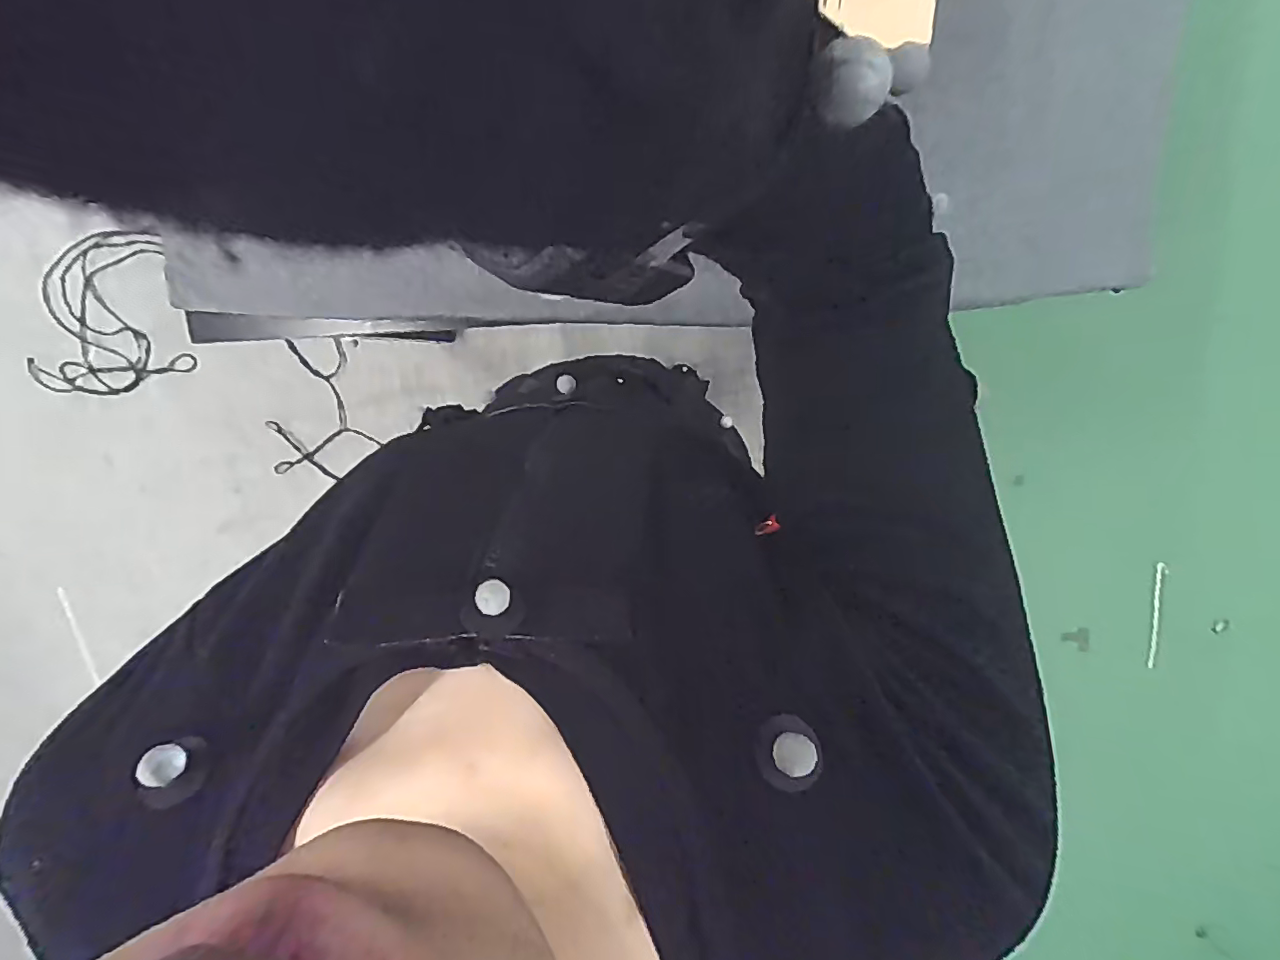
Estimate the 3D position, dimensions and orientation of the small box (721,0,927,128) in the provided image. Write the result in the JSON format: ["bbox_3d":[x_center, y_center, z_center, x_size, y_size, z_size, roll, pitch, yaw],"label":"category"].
[{"bbox_3d":[0.174,-0.482,0.538,0.168,0.176,0.179,4,106,3],"label":"small box"}]
